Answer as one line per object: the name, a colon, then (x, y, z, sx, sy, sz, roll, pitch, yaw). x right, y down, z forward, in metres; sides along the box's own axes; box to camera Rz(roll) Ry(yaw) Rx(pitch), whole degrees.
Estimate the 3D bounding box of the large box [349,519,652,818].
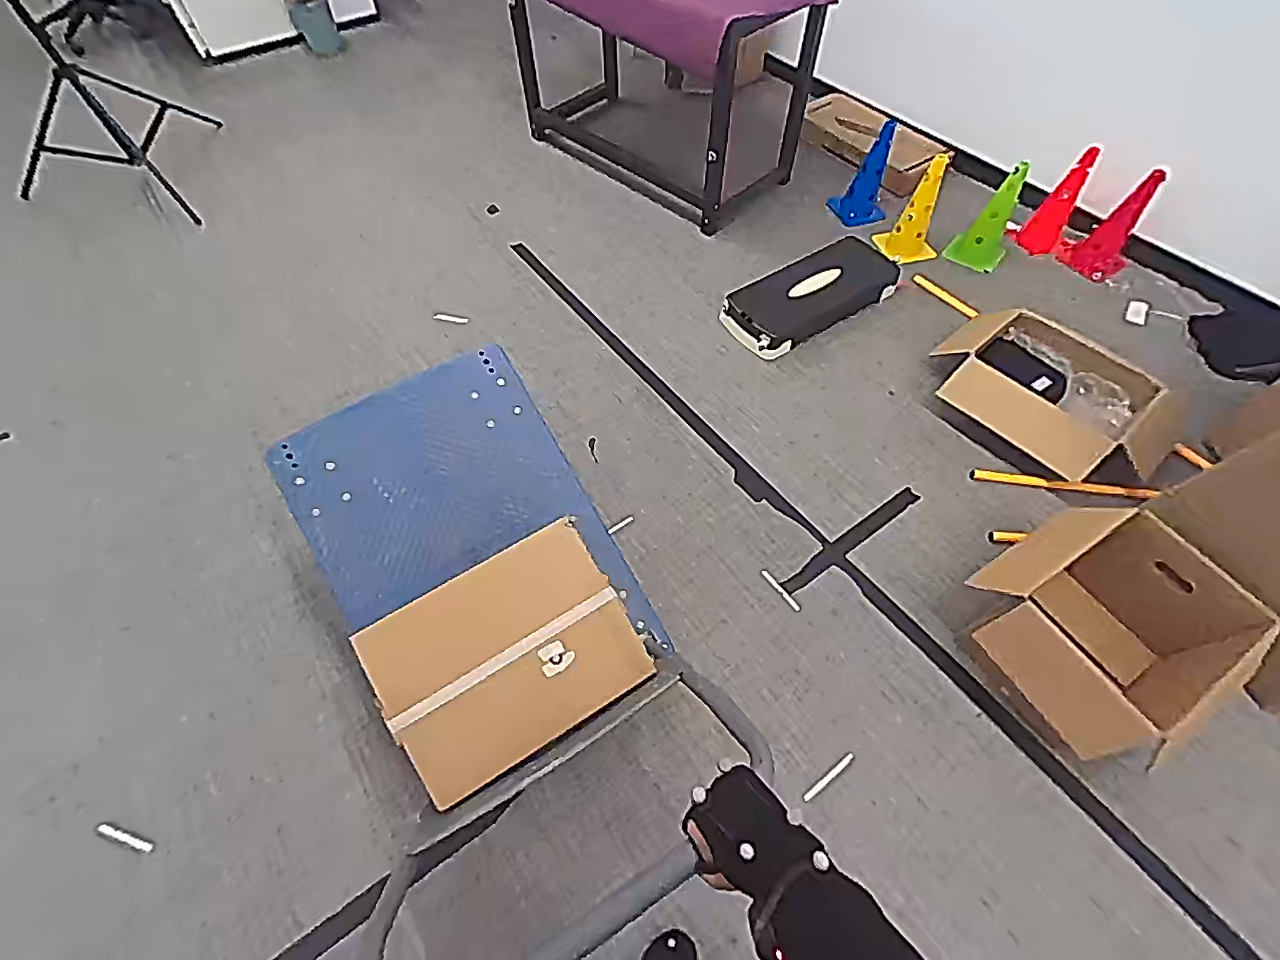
large box: (-0.242, 0.325, 1.026, 0.408, 0.320, 0.320, -30, 84, -14)
